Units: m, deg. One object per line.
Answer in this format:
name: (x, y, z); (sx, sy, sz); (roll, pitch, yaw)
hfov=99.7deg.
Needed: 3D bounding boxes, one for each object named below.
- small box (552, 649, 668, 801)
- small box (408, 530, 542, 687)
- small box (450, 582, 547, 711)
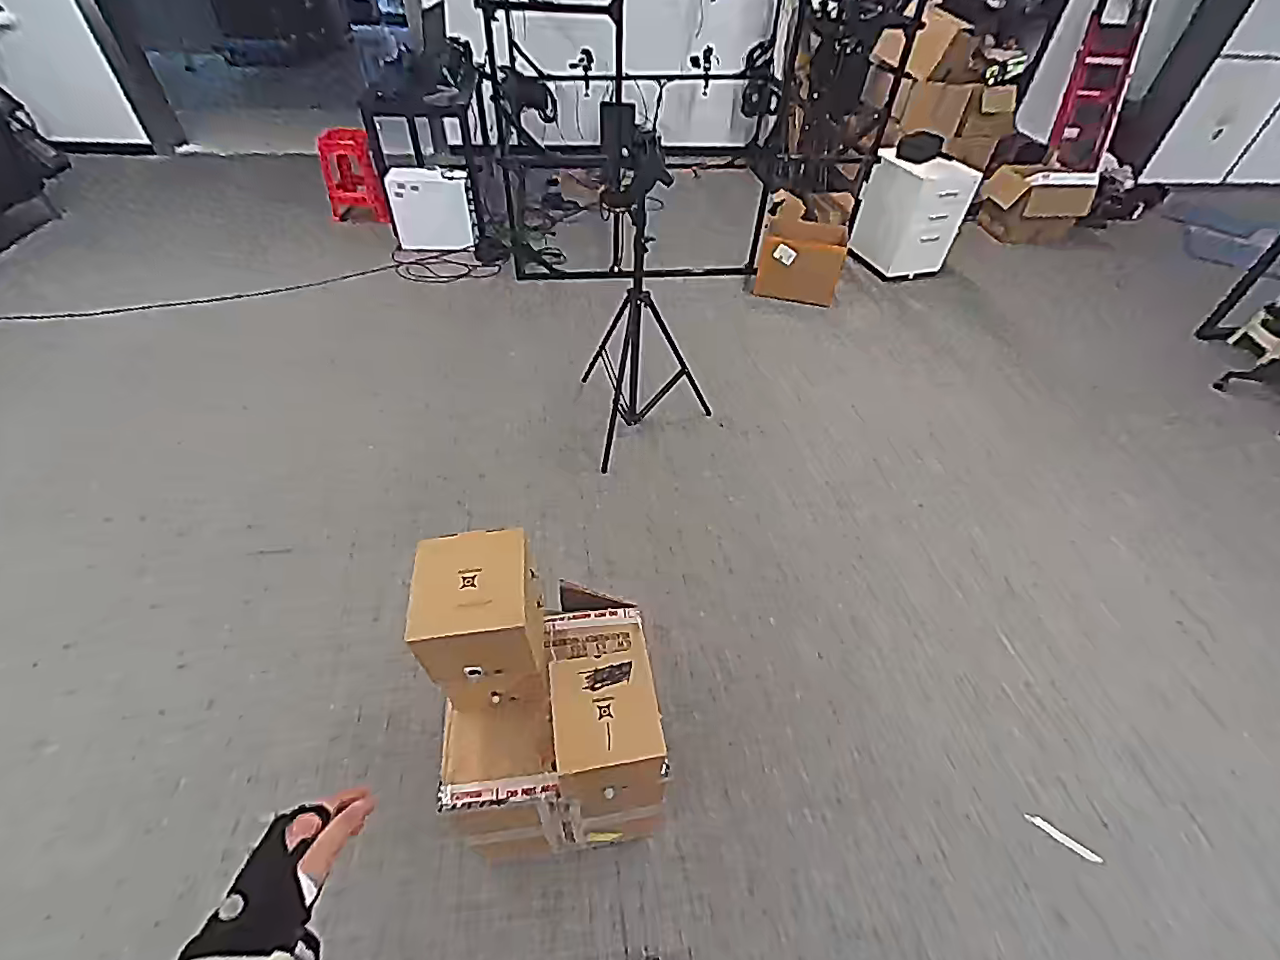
small box: (-0.056, 0.409, 0.904); (0.168, 0.176, 0.179); (-6, 49, -9)
small box: (-0.250, 0.205, 0.859); (0.168, 0.176, 0.179); (-7, 50, -7)
small box: (-0.264, 0.299, 0.993); (0.168, 0.176, 0.179); (-6, 49, -7)
